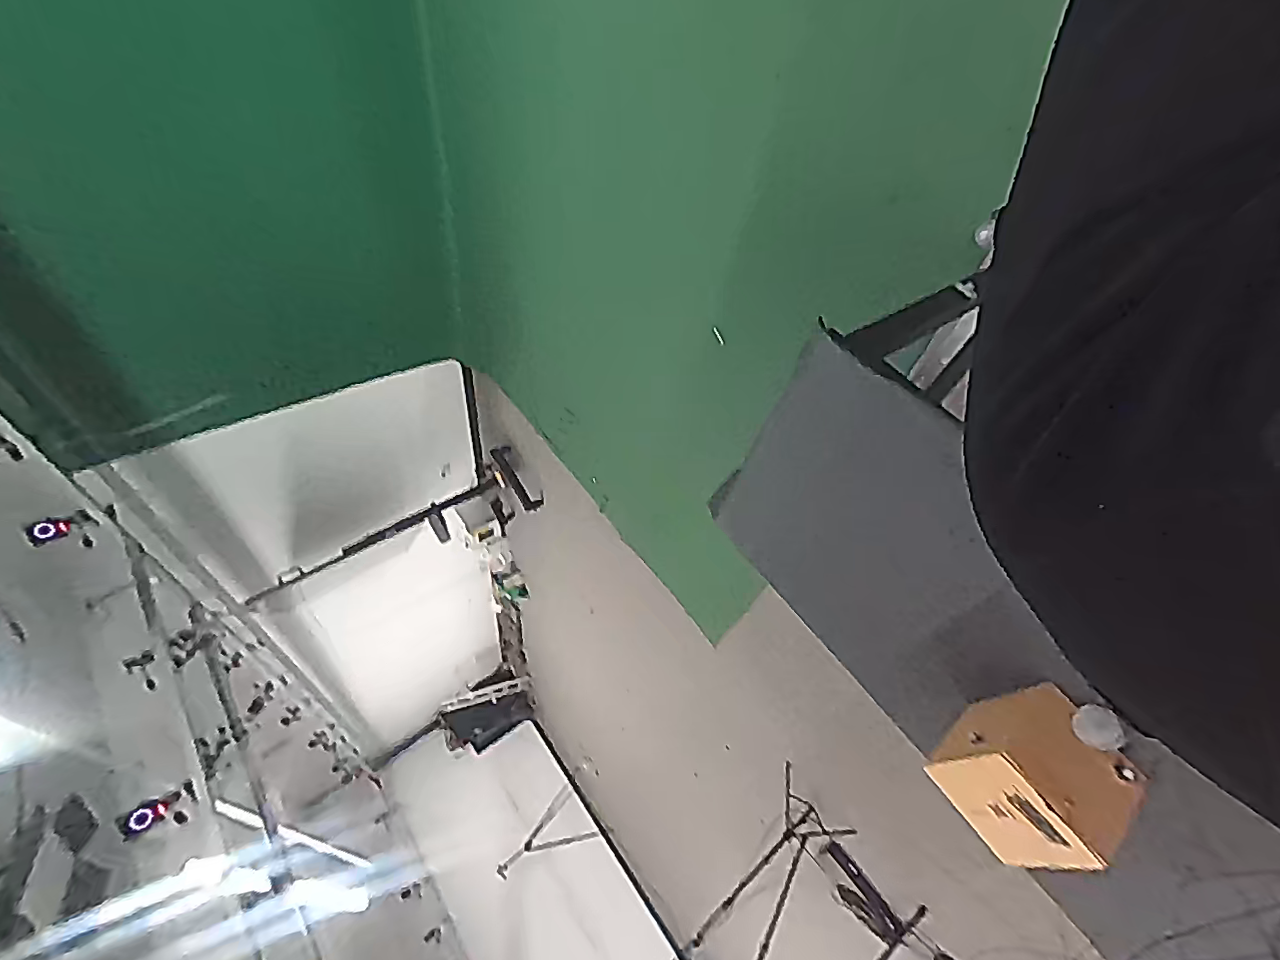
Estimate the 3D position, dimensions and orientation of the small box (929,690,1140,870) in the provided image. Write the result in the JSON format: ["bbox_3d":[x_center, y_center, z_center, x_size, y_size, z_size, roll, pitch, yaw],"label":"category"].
[{"bbox_3d":[0.593,0.445,0.814,0.168,0.176,0.179,52,150,21],"label":"small box"}]
